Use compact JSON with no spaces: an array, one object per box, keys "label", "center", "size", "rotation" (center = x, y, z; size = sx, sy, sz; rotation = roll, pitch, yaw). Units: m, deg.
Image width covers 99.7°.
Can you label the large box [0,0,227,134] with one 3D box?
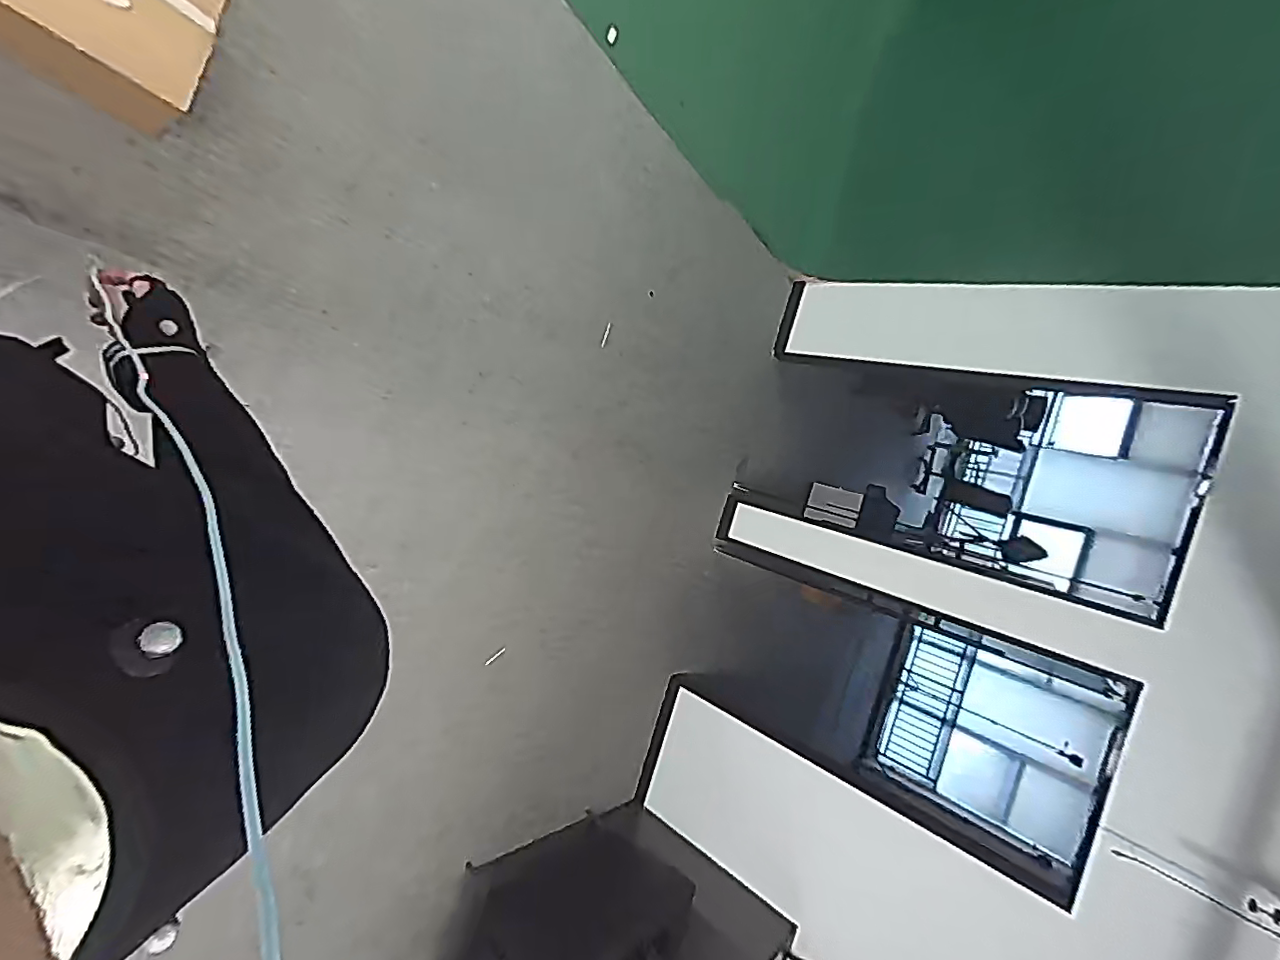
[{"label":"large box","center":[-0.983,-0.873,0.894],"size":[0.408,0.320,0.320],"rotation":[20,88,-53]}]
